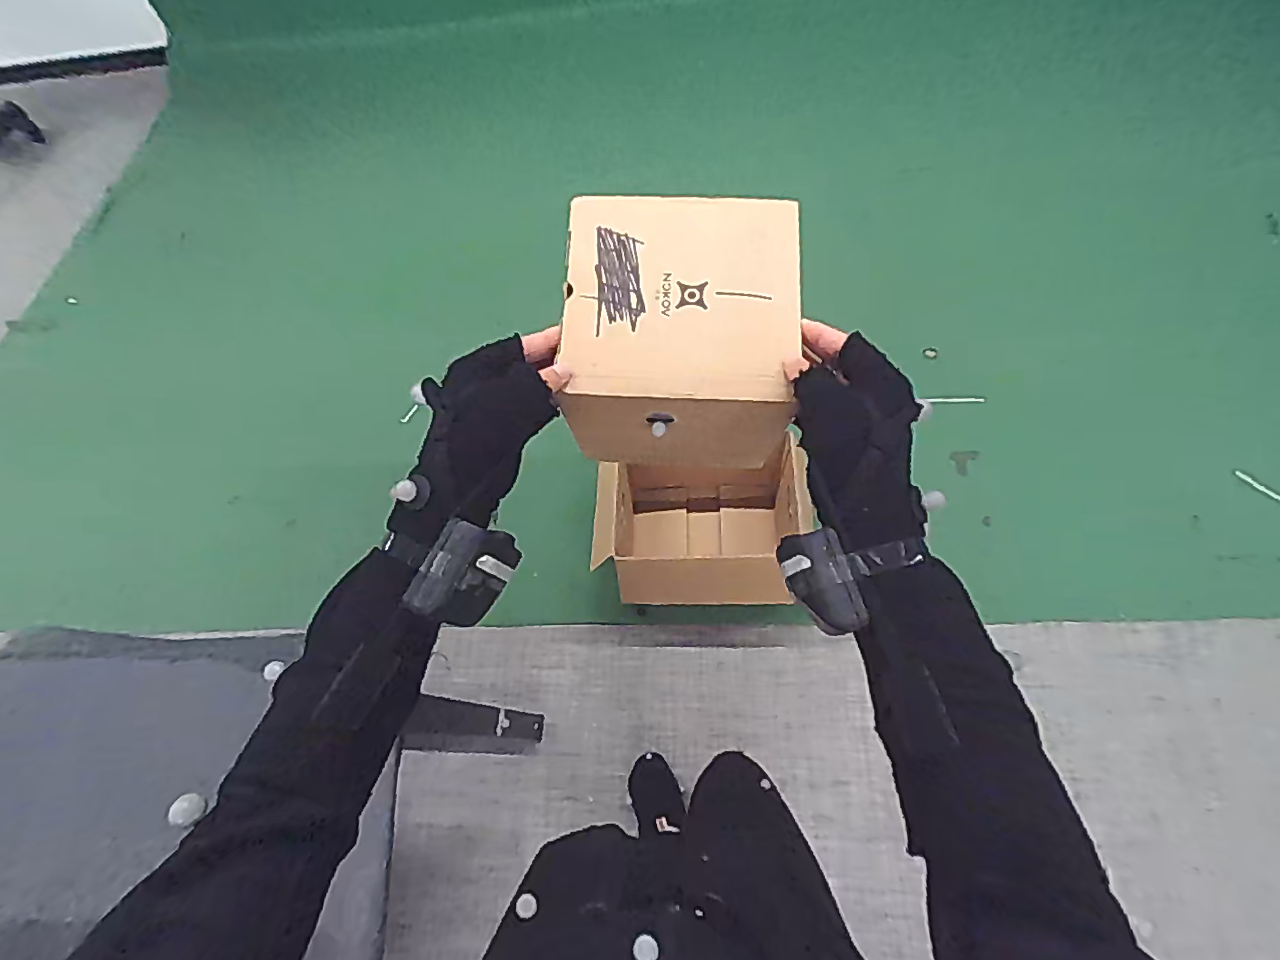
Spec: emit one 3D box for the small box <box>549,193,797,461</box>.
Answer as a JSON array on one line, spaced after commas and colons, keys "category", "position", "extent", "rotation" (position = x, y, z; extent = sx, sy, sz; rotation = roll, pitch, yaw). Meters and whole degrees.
[{"category": "small box", "position": [0.029, -0.119, 0.473], "extent": [0.179, 0.176, 0.168], "rotation": [2, 75, 2]}]
